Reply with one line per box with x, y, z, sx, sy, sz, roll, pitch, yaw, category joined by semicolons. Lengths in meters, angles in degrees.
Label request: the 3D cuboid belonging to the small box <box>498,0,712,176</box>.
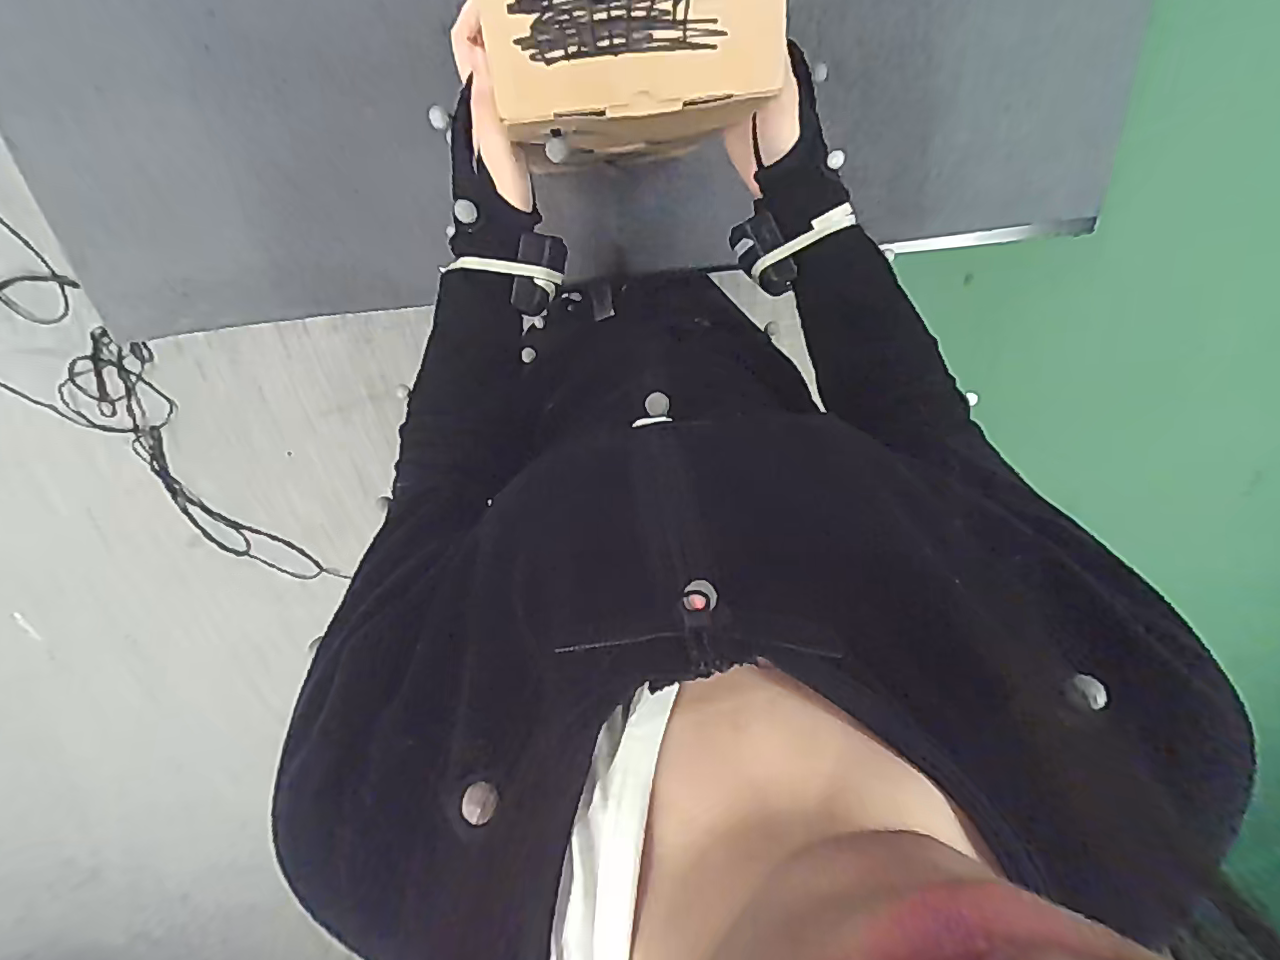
-0.036;-0.391;0.493;0.168;0.176;0.179;-8;117;-3;small box
